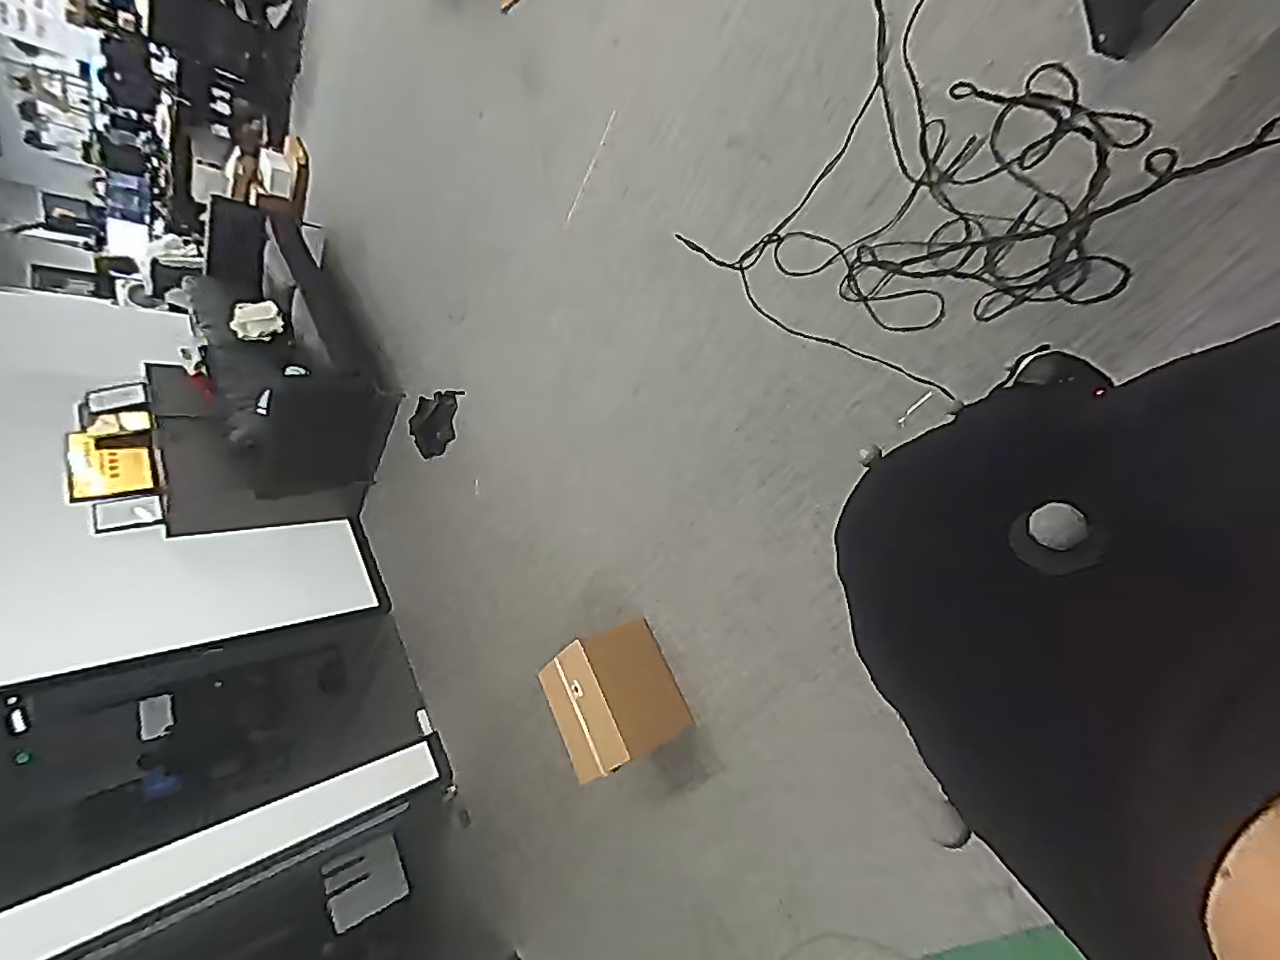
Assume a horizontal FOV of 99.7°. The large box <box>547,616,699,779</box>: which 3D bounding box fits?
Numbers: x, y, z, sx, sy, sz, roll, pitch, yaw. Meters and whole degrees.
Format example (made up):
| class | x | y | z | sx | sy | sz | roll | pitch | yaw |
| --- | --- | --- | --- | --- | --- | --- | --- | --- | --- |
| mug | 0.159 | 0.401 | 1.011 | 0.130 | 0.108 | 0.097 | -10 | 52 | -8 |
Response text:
| class | x | y | z | sx | sy | sz | roll | pitch | yaw |
| --- | --- | --- | --- | --- | --- | --- | --- | --- | --- |
| large box | -0.065 | 0.753 | 1.904 | 0.320 | 0.320 | 0.408 | -47 | 60 | 37 |
